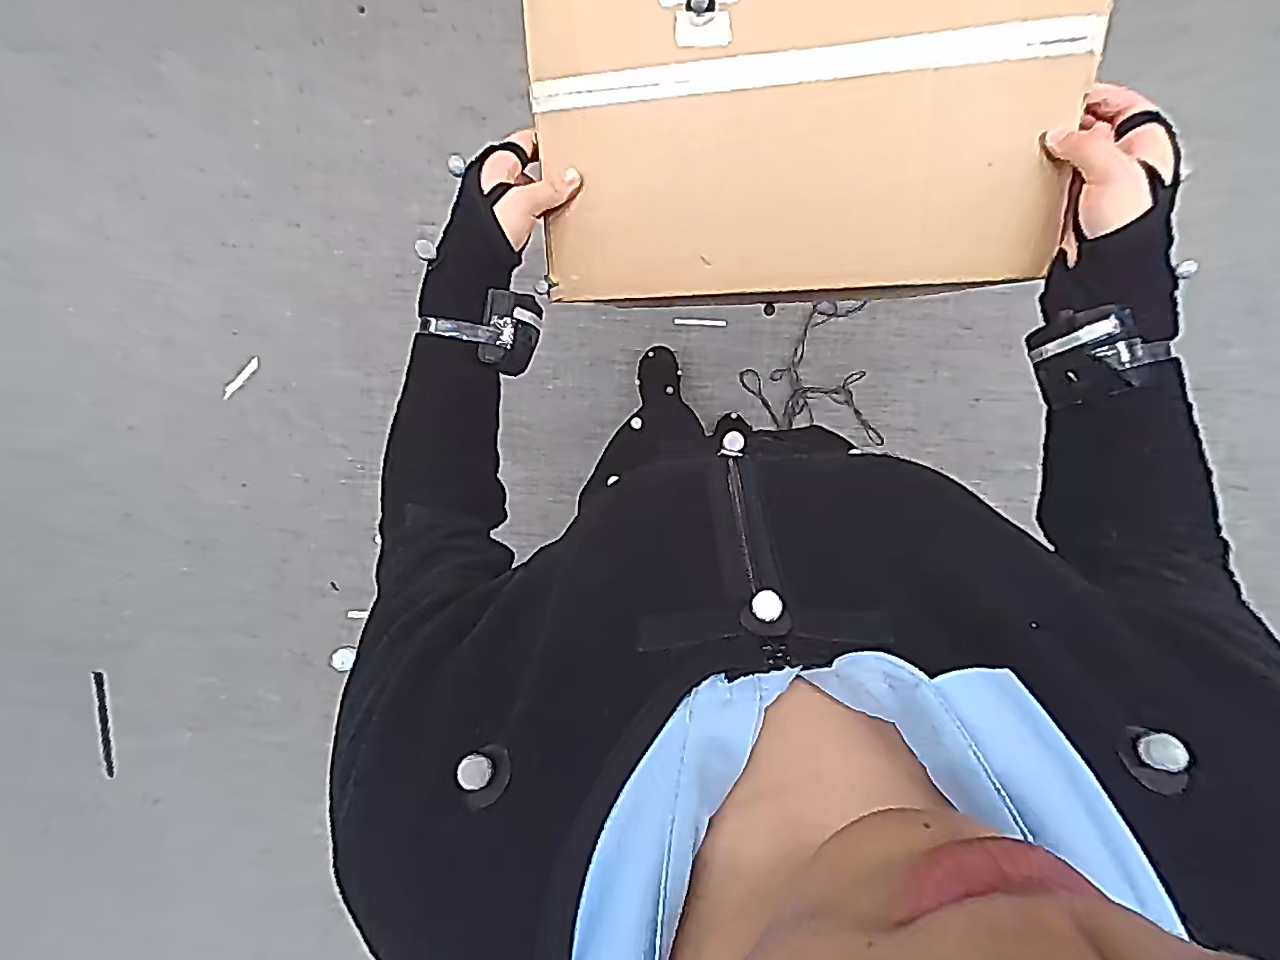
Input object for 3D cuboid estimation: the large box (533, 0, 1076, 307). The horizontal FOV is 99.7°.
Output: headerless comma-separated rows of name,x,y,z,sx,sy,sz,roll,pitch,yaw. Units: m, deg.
large box,0.138,-0.354,0.561,0.408,0.320,0.320,0,105,10
